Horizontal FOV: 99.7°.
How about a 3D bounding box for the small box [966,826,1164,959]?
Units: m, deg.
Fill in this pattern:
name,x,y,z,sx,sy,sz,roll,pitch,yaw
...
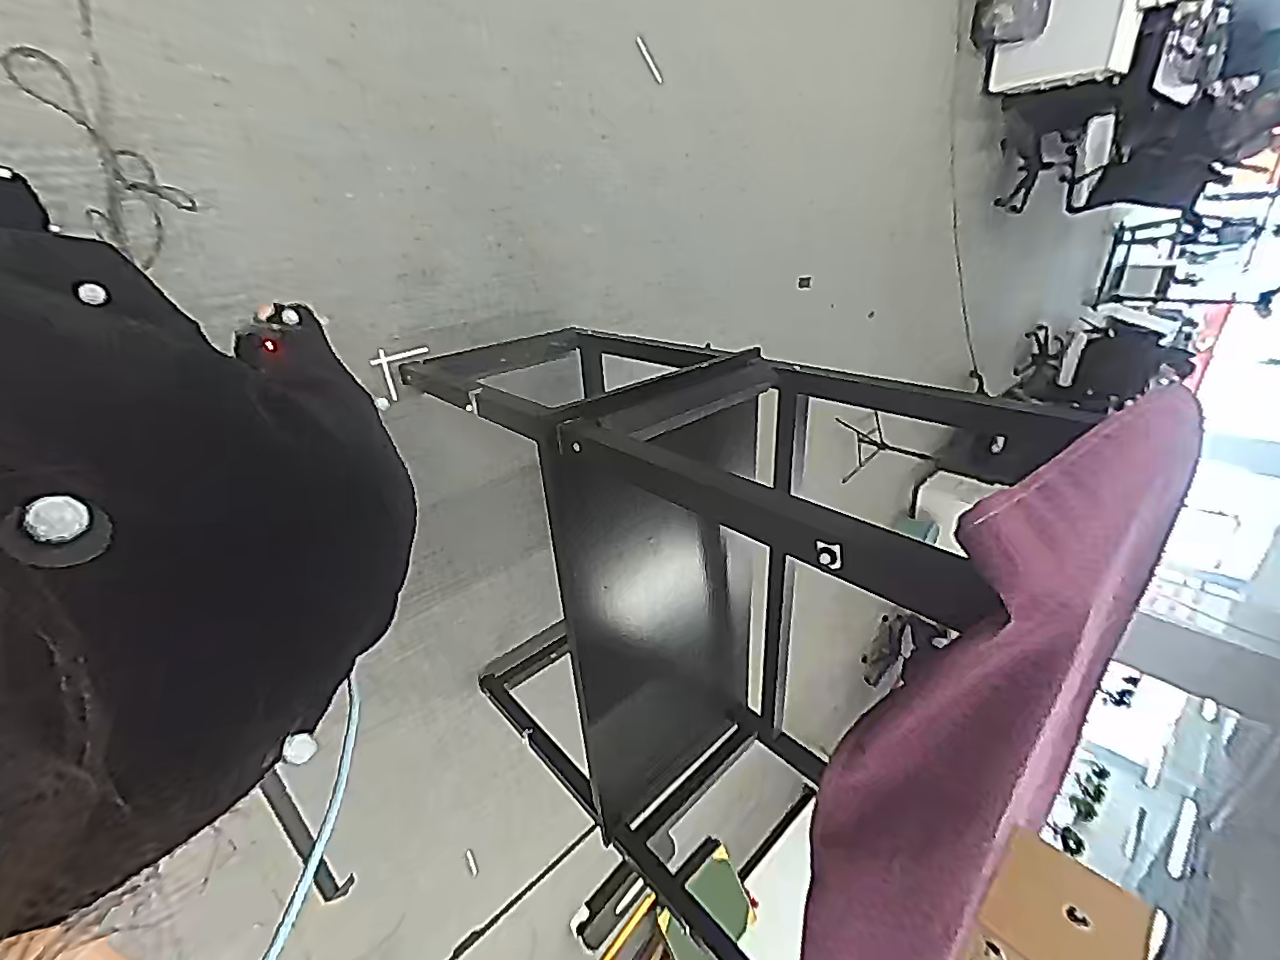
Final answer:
name,x,y,z,sx,sy,sz,roll,pitch,yaw
small box,0.587,0.649,0.762,0.179,0.176,0.168,-31,126,-34
